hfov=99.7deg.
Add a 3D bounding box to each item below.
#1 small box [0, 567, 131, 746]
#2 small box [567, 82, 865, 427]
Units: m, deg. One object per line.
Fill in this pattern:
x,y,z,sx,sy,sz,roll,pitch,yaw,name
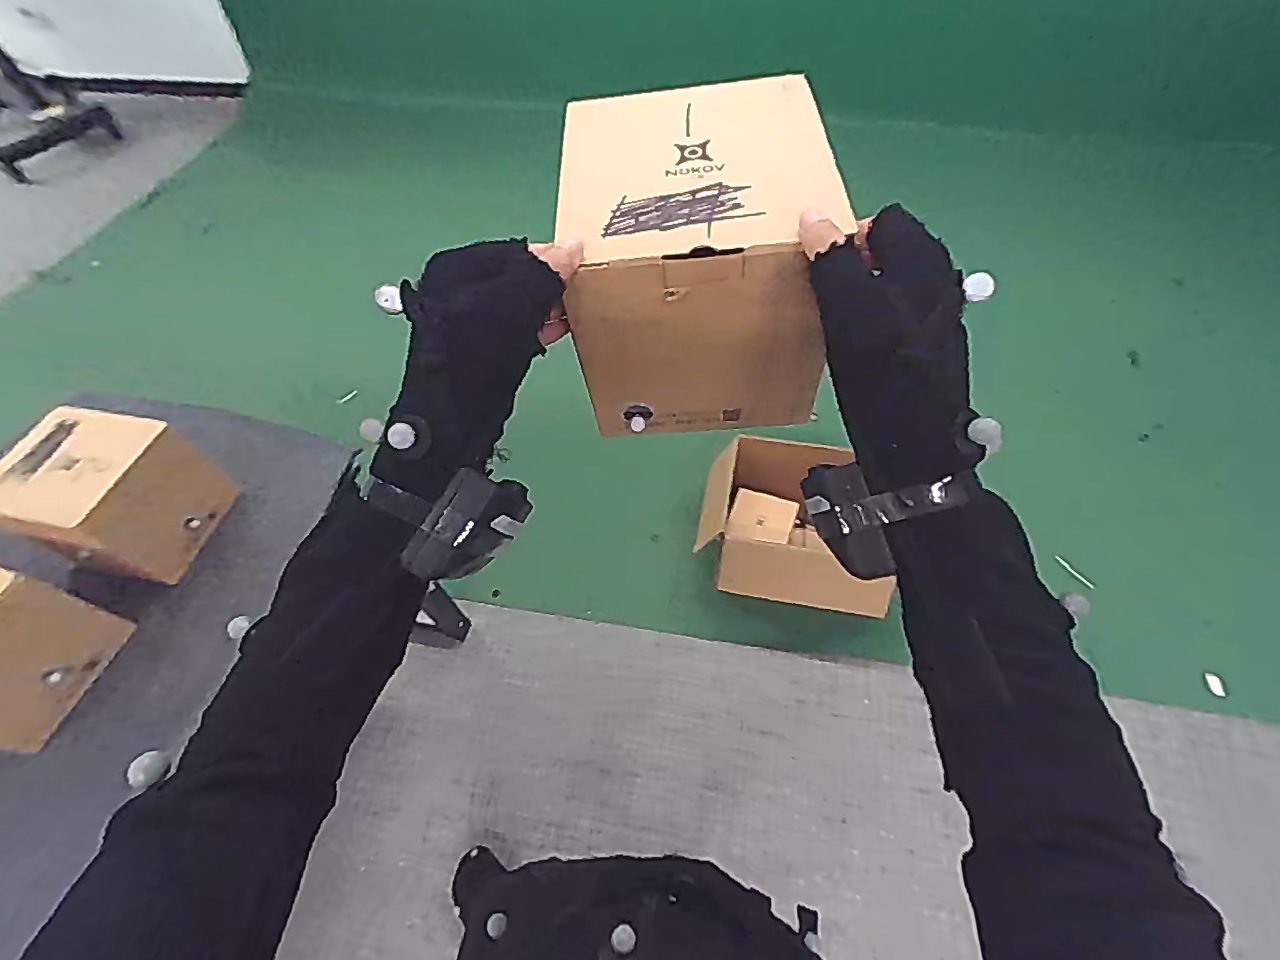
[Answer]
-0.787,0.198,0.637,0.179,0.176,0.168,12,57,9,small box
0.050,-0.151,0.402,0.168,0.176,0.179,-3,59,5,small box
